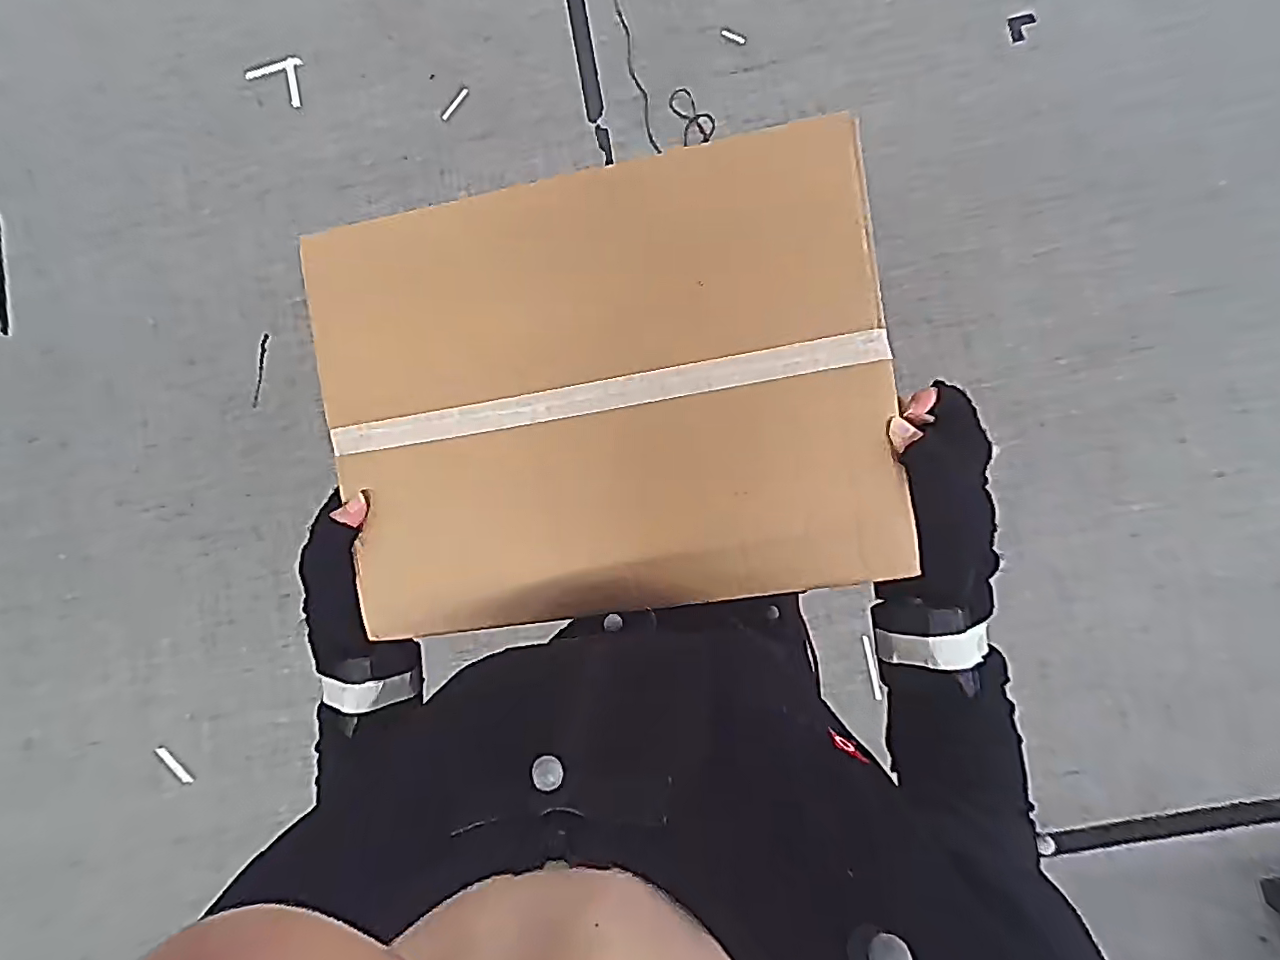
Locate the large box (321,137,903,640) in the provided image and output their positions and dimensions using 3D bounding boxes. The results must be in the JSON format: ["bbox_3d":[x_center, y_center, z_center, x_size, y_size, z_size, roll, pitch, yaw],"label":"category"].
[{"bbox_3d":[-0.013,-0.062,0.547,0.408,0.320,0.320,-9,91,8],"label":"large box"}]
